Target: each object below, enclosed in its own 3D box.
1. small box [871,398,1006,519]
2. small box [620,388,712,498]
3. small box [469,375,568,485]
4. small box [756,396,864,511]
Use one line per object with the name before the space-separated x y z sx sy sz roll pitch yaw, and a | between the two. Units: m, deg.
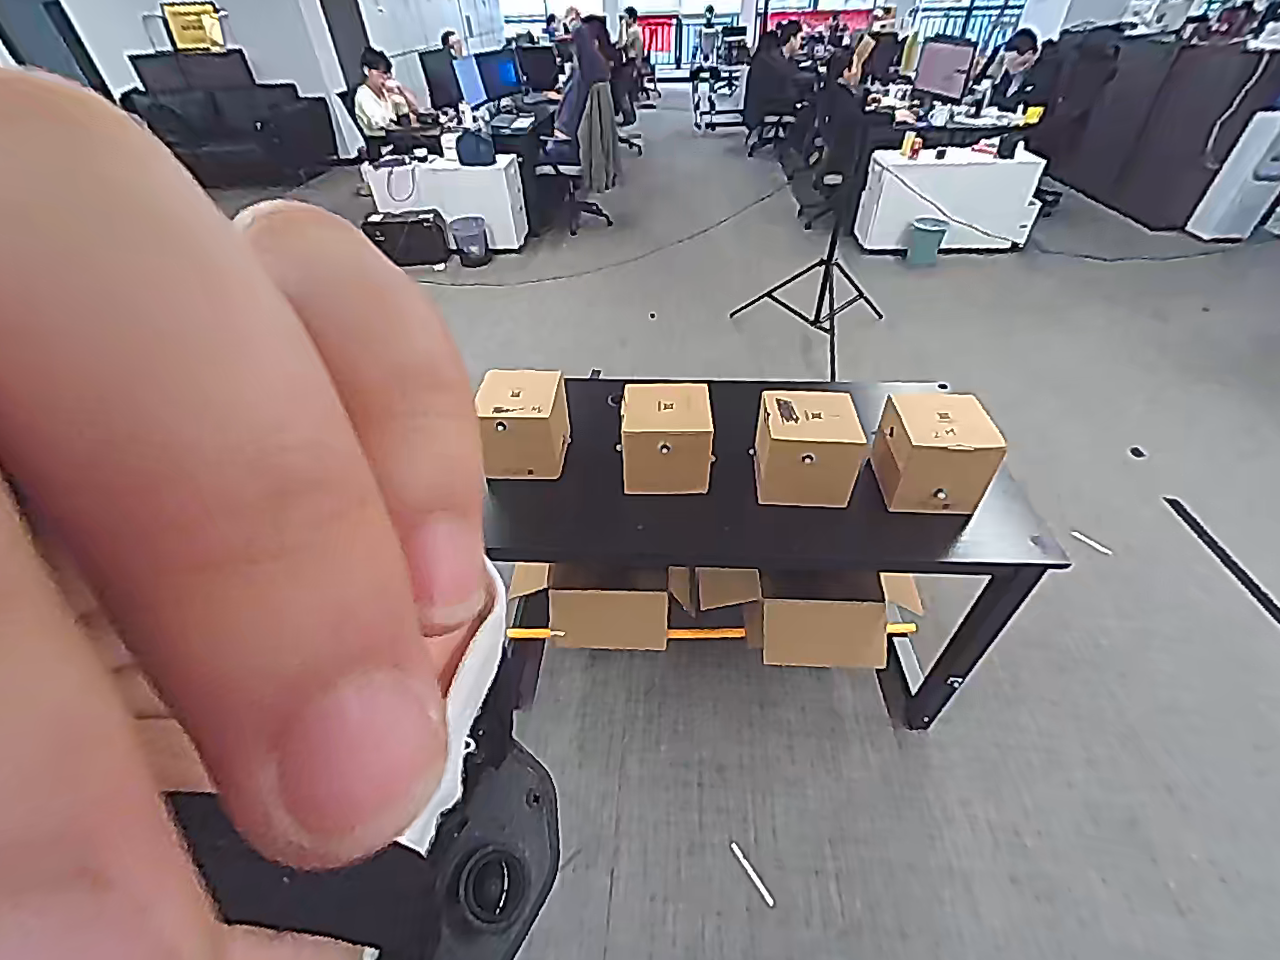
small box | 0.573 -0.045 1.071 0.168 0.176 0.179 1 41 6
small box | 0.053 -0.075 1.129 0.179 0.176 0.168 0 43 1
small box | -0.253 -0.110 1.176 0.168 0.176 0.179 1 42 3
small box | 0.329 -0.054 1.090 0.179 0.176 0.168 3 42 5
